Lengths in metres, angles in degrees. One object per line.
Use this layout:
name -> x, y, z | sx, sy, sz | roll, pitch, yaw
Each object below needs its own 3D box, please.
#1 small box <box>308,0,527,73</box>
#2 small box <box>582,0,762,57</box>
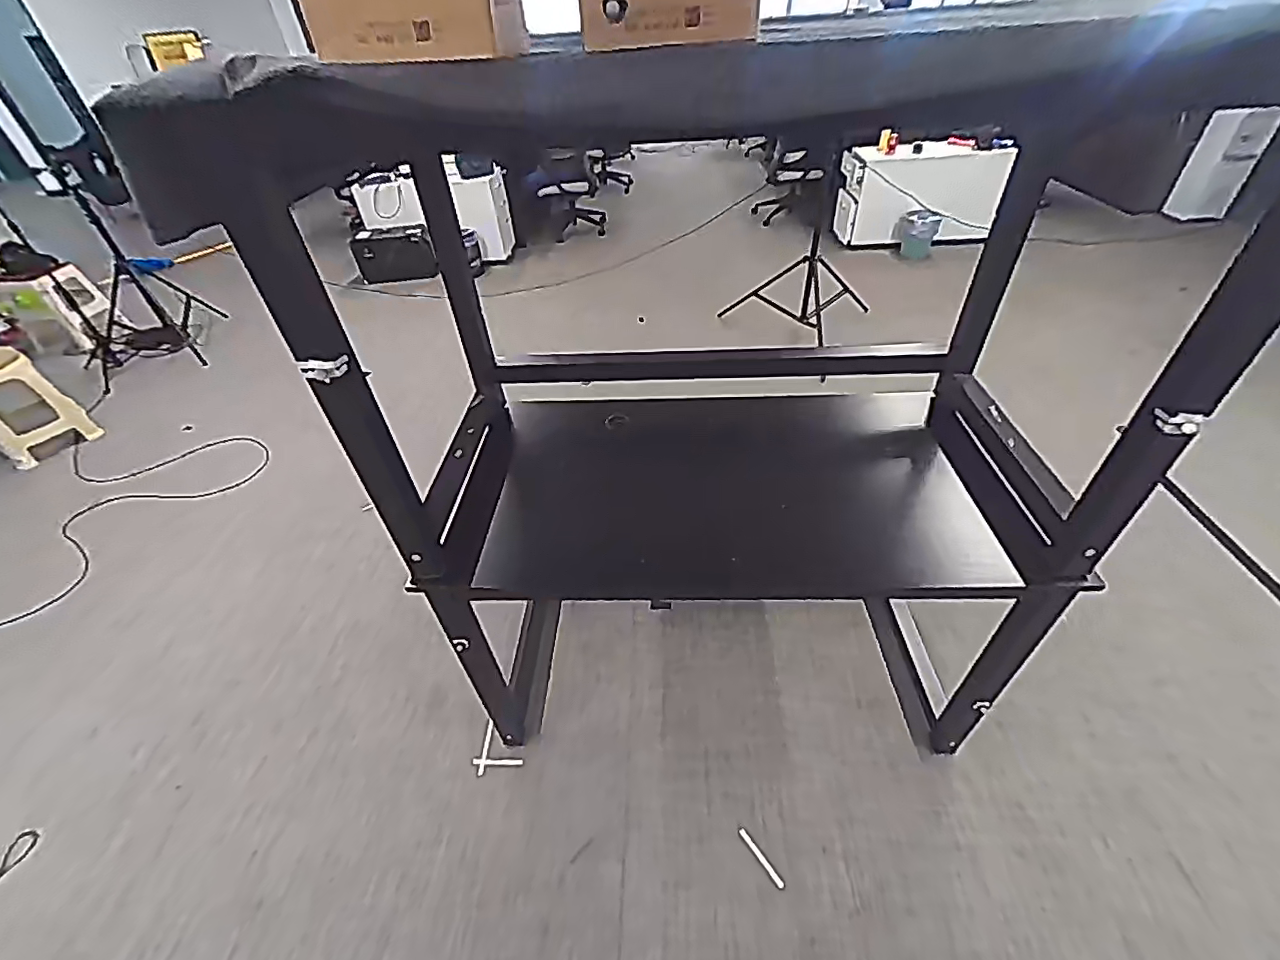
small box -> -0.212, -0.495, 0.511 | 0.168, 0.176, 0.179 | 0, 39, 3
small box -> 0.030, -0.518, 0.516 | 0.168, 0.176, 0.179 | 0, 39, 5
